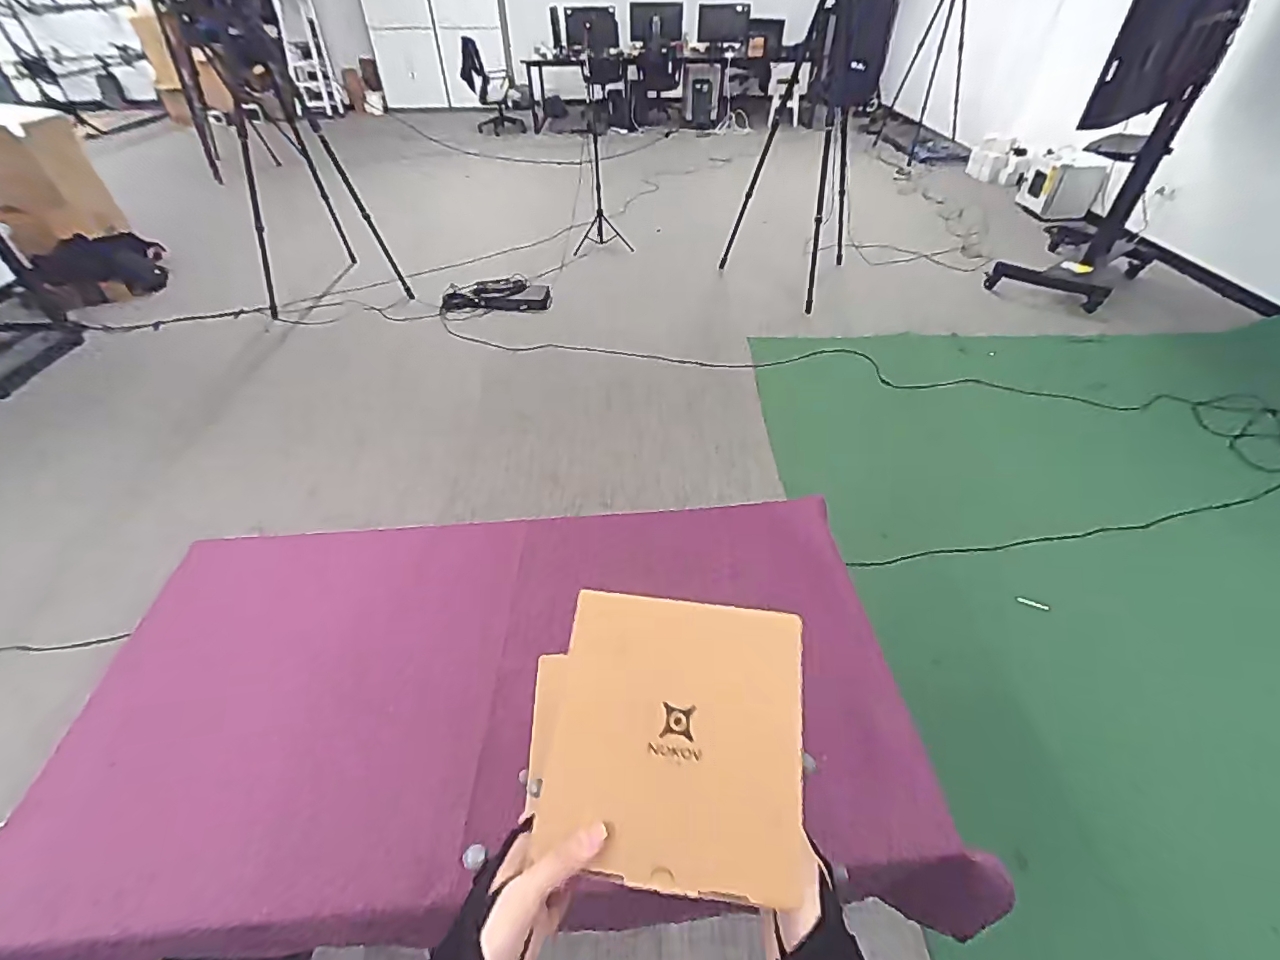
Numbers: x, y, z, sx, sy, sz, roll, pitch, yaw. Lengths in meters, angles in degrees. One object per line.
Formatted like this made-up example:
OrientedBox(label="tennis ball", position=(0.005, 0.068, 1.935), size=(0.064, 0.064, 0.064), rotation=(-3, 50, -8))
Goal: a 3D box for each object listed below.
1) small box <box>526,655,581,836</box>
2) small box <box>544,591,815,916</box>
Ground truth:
OrientedBox(label="small box", position=(-0.039, 0.336, 0.672), size=(0.168, 0.176, 0.179), rotation=(-2, 43, -2))
OrientedBox(label="small box", position=(0.034, 0.204, 0.429), size=(0.168, 0.176, 0.179), rotation=(6, 64, 5))
